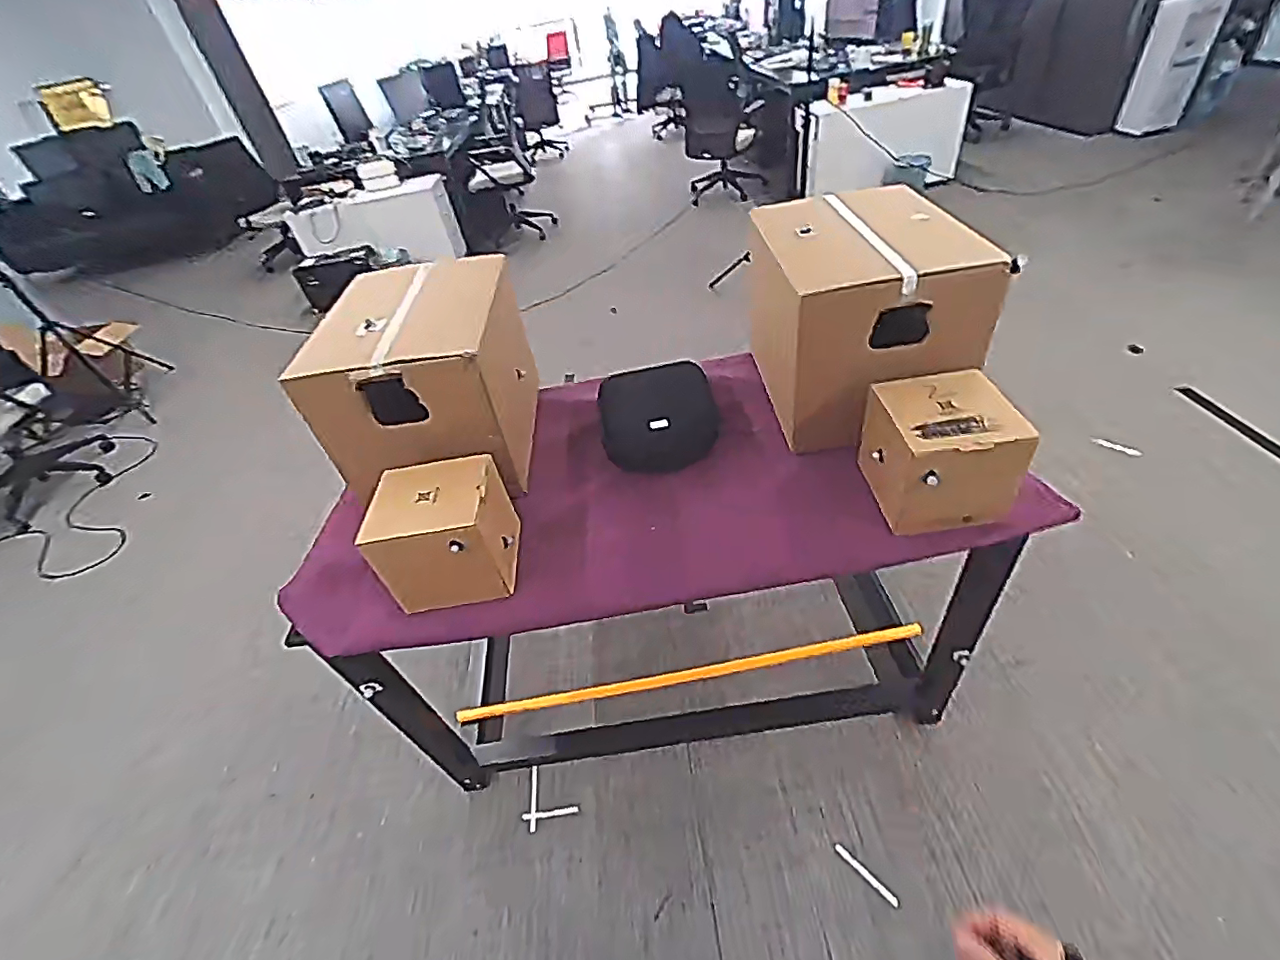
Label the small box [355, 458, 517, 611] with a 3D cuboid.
[{"bbox_3d":[-0.313,0.090,0.869,0.179,0.176,0.168,-10,41,1],"label":"small box"}]

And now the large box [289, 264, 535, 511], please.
[{"bbox_3d":[-0.399,-0.183,1.080,0.320,0.320,0.408,-8,44,2],"label":"large box"}]
